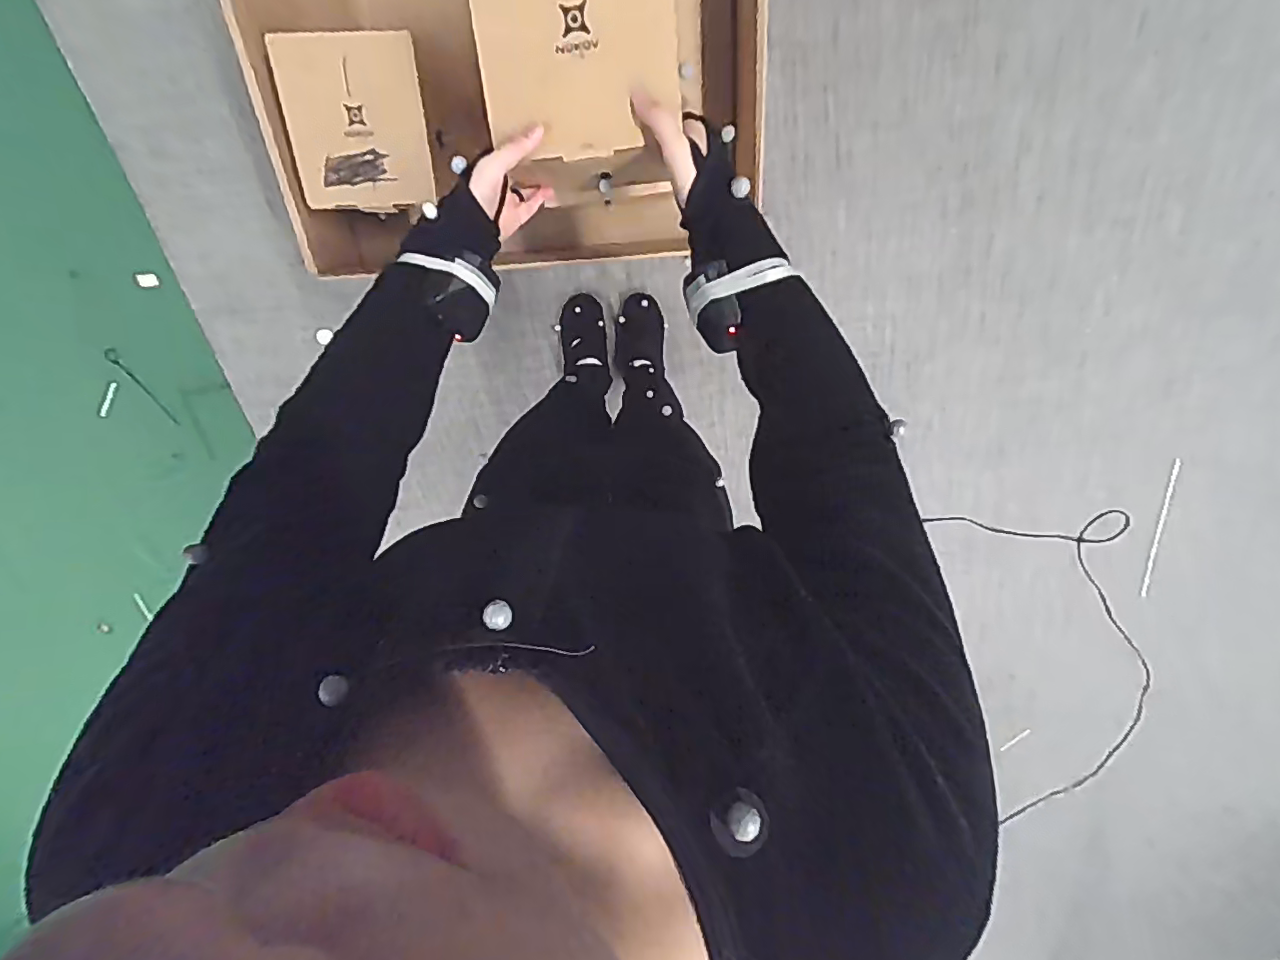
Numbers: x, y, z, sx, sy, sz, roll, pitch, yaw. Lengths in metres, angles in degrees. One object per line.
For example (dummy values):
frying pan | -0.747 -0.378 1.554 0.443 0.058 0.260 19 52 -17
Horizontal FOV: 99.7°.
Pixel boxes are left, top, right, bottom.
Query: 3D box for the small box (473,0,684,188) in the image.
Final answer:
small box | -0.044 -0.386 0.512 0.168 0.176 0.179 -3 111 6
